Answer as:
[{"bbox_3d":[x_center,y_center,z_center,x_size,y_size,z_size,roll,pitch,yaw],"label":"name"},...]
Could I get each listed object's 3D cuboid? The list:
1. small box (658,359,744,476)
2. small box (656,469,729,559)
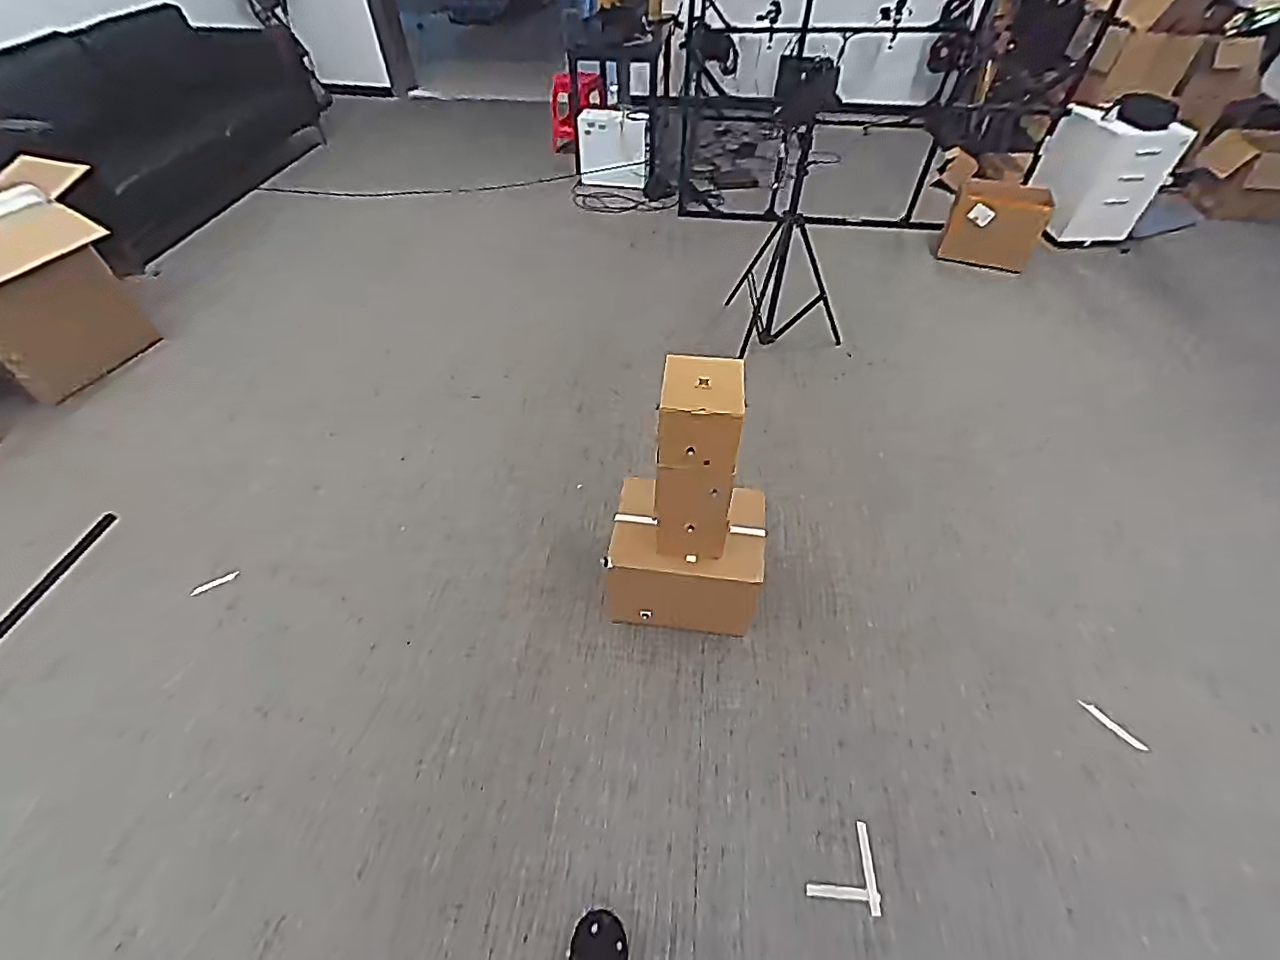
[{"bbox_3d":[0.127,-0.133,1.157,0.168,0.176,0.179,5,50,4],"label":"small box"},{"bbox_3d":[0.133,0.090,1.396,0.179,0.176,0.168,5,50,3],"label":"small box"}]
